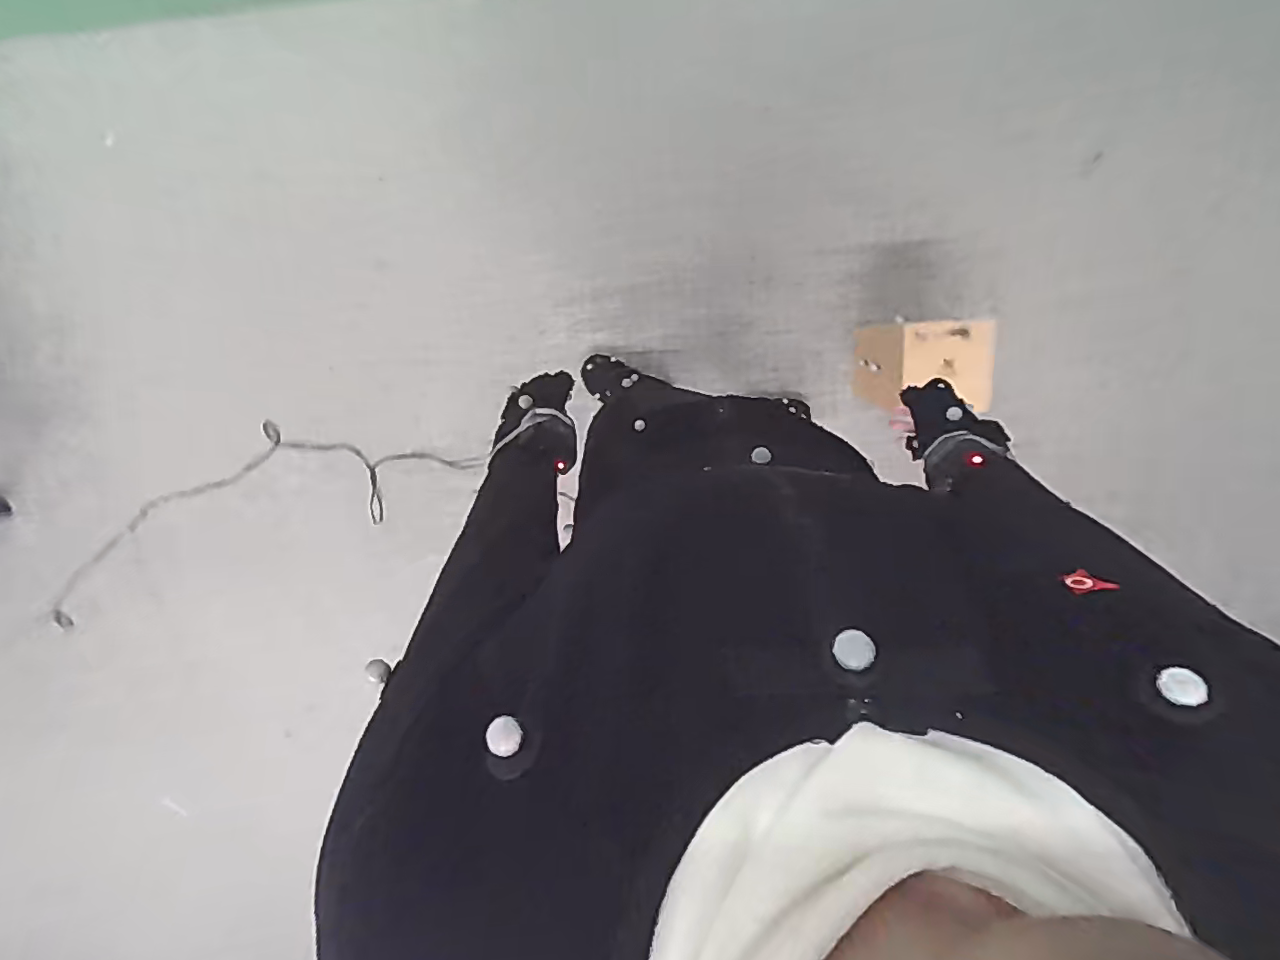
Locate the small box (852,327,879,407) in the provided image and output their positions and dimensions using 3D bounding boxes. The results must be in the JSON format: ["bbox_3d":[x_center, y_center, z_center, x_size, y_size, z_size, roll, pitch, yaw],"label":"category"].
[{"bbox_3d":[0.605,-0.270,1.261,0.168,0.176,0.179,-3,102,5],"label":"small box"}]

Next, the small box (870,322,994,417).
[{"bbox_3d":[0.584,-0.229,1.105,0.168,0.176,0.179,-1,105,4],"label":"small box"}]
